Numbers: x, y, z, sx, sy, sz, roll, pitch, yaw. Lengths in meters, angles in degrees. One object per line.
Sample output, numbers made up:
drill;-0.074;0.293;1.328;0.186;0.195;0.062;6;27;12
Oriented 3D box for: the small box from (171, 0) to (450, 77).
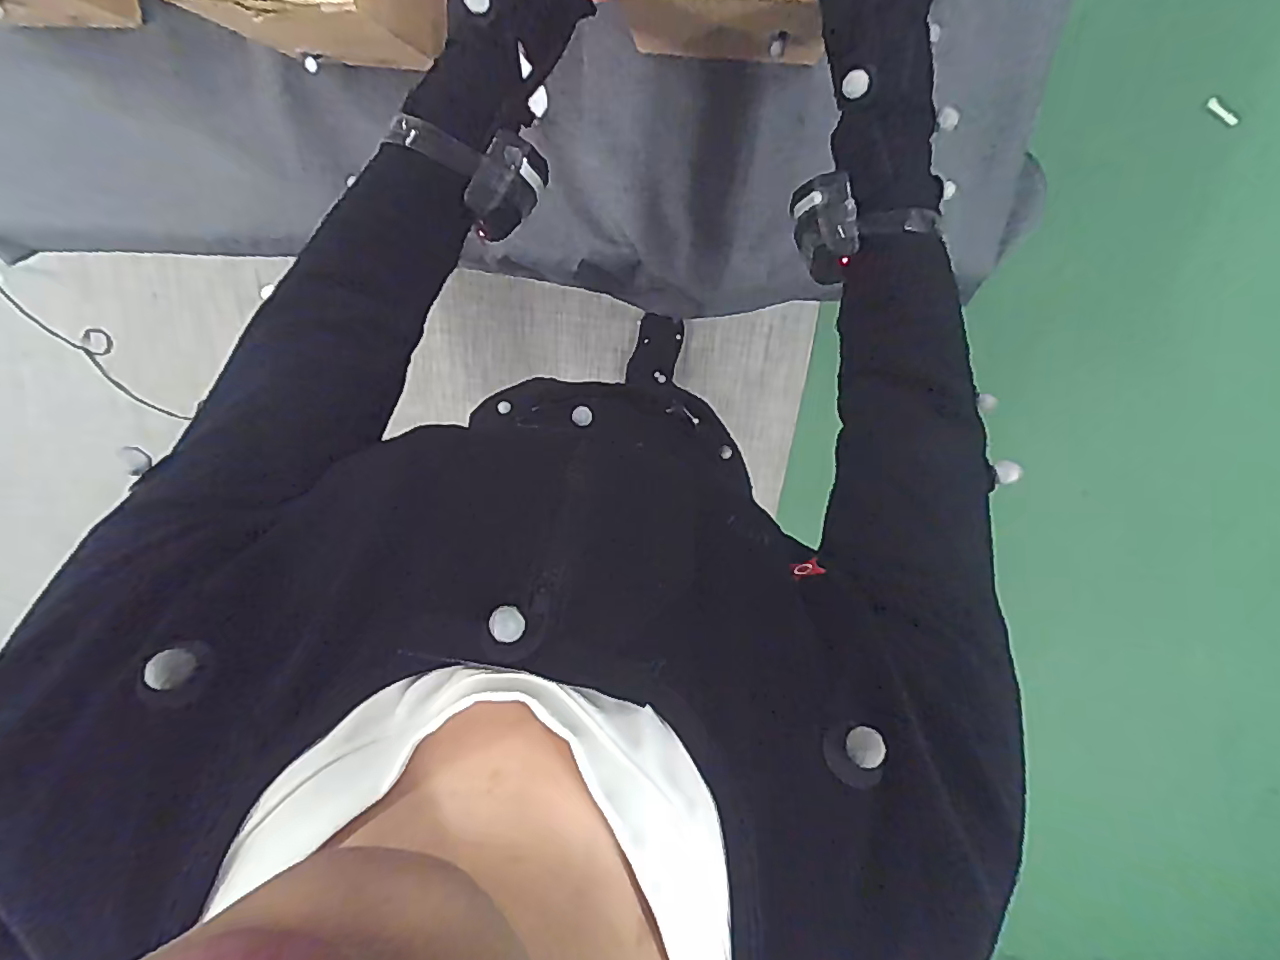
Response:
small box;-0.278;-0.476;0.467;0.168;0.176;0.179;7;113;4
